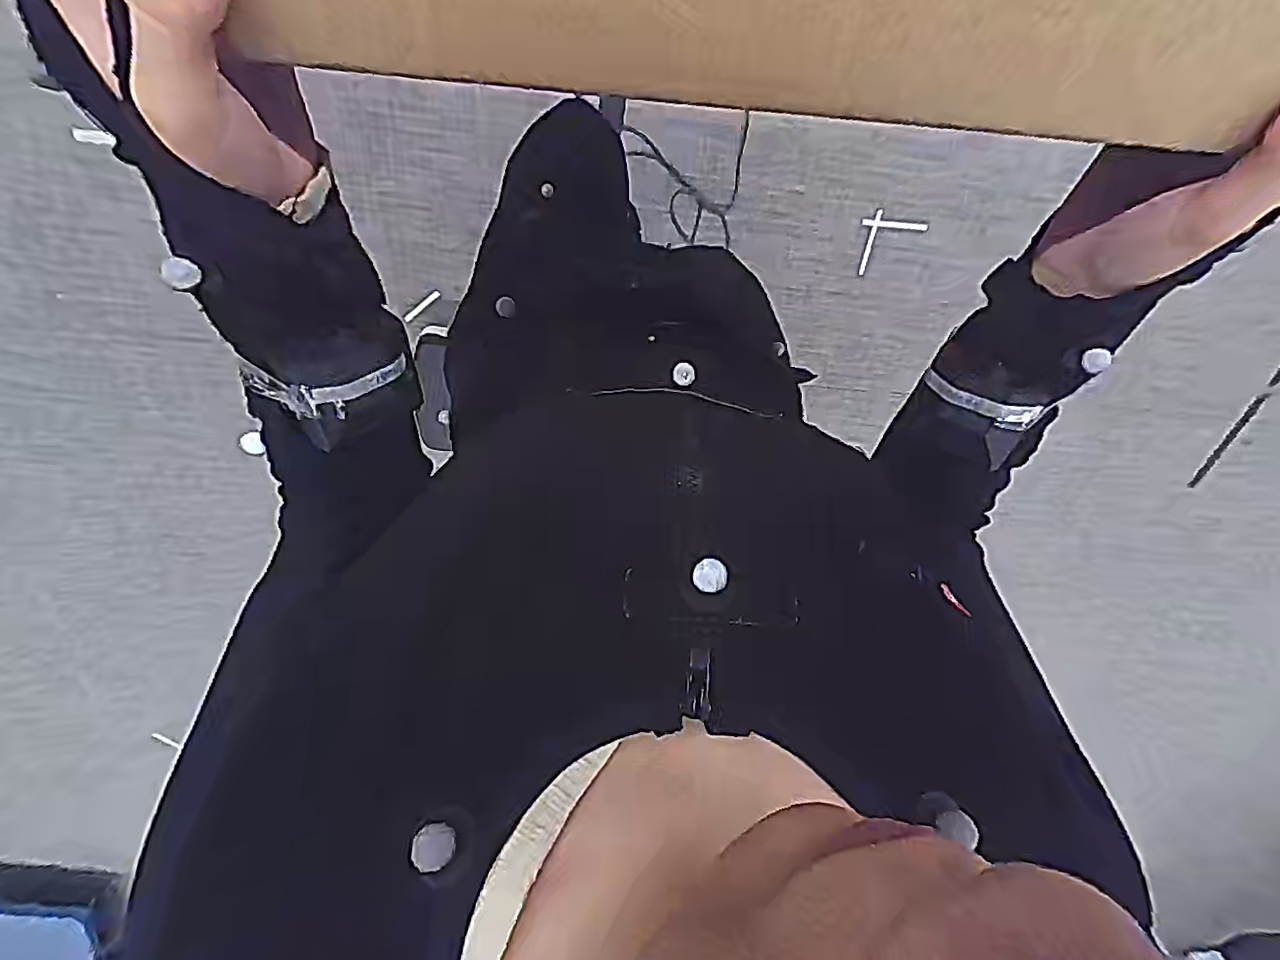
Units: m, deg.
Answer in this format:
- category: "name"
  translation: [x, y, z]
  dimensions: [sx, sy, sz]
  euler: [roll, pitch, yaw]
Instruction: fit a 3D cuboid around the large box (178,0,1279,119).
- category: "large box"
  translation: [0.061, -0.345, 0.150]
  dimensions: [0.408, 0.320, 0.320]
  euler: [1, 145, -5]
